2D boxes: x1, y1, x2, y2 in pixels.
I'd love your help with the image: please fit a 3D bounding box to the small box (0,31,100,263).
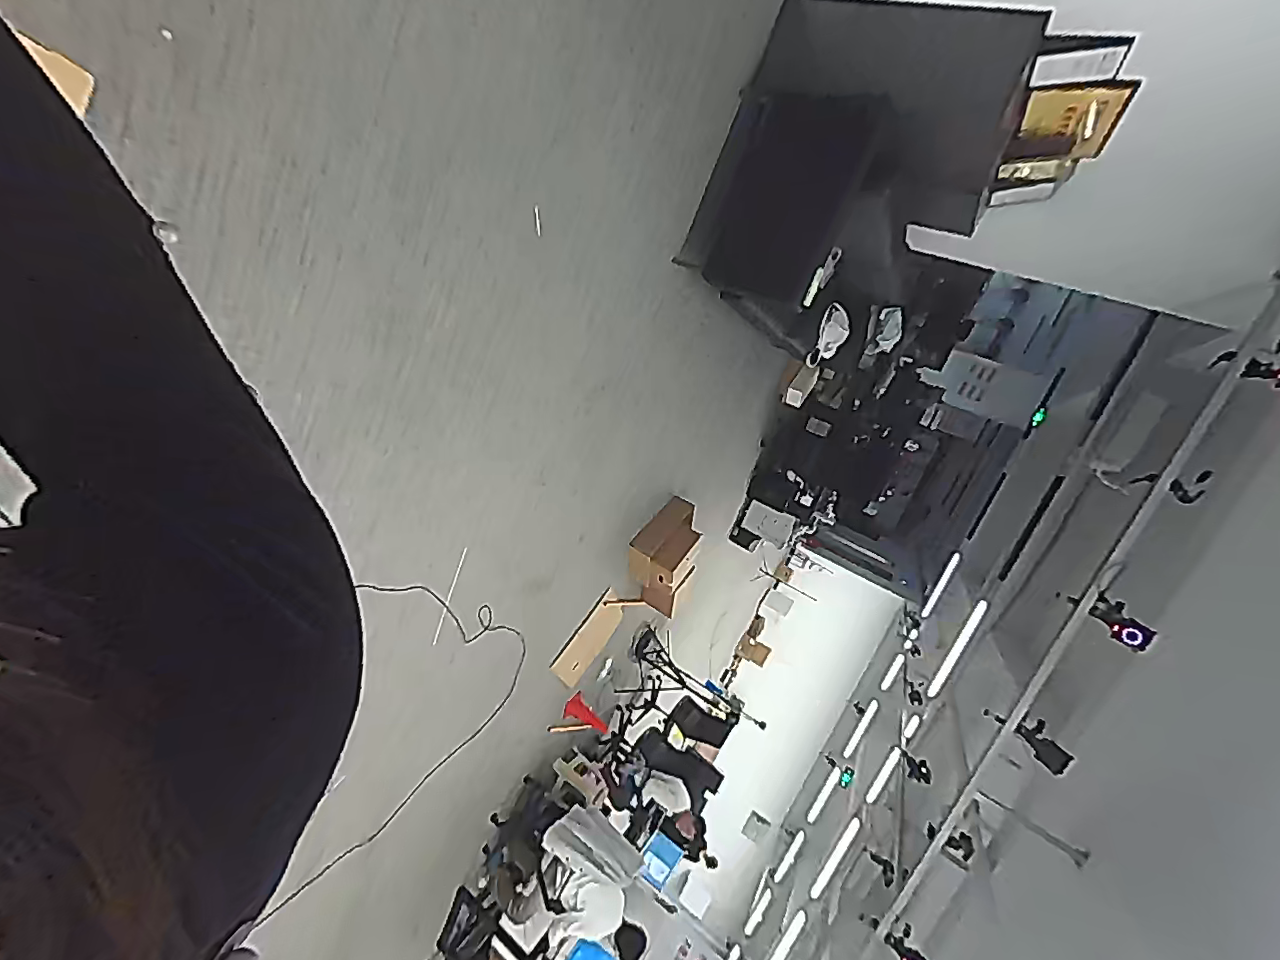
[{"bbox_3d":[-0.636,-0.325,0.468,0.179,0.176,0.168,-66,156,3],"label":"small box"}]
